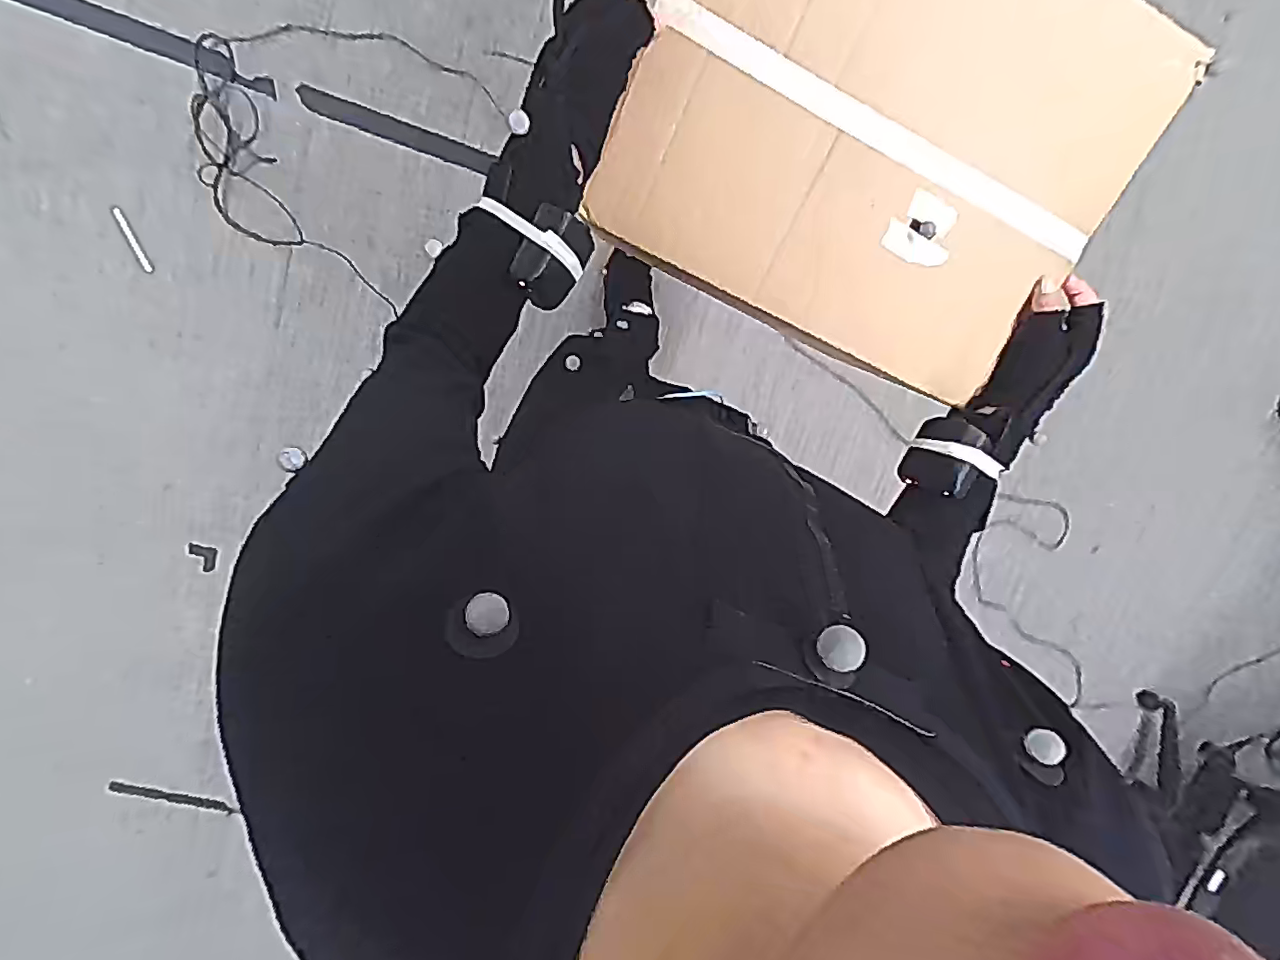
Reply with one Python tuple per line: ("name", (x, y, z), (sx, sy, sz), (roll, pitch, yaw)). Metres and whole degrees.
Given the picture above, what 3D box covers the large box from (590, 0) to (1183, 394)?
("large box", (0.189, -0.338, 0.583), (0.408, 0.320, 0.320), (23, 110, -11))
